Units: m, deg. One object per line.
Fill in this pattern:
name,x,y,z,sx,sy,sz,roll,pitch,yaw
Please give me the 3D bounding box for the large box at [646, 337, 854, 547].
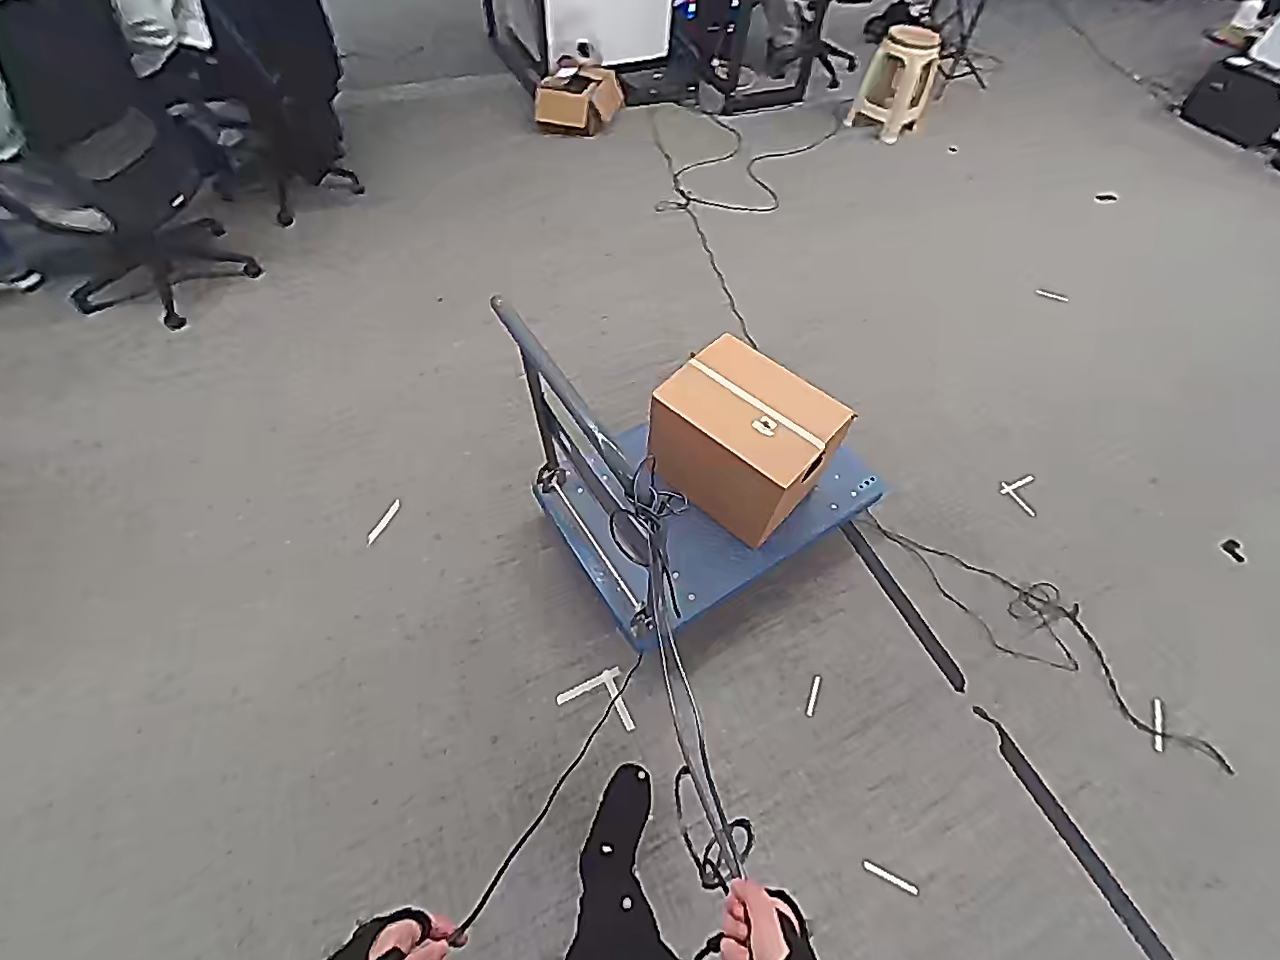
large box,0.268,-0.101,1.445,0.408,0.320,0.320,39,64,19
